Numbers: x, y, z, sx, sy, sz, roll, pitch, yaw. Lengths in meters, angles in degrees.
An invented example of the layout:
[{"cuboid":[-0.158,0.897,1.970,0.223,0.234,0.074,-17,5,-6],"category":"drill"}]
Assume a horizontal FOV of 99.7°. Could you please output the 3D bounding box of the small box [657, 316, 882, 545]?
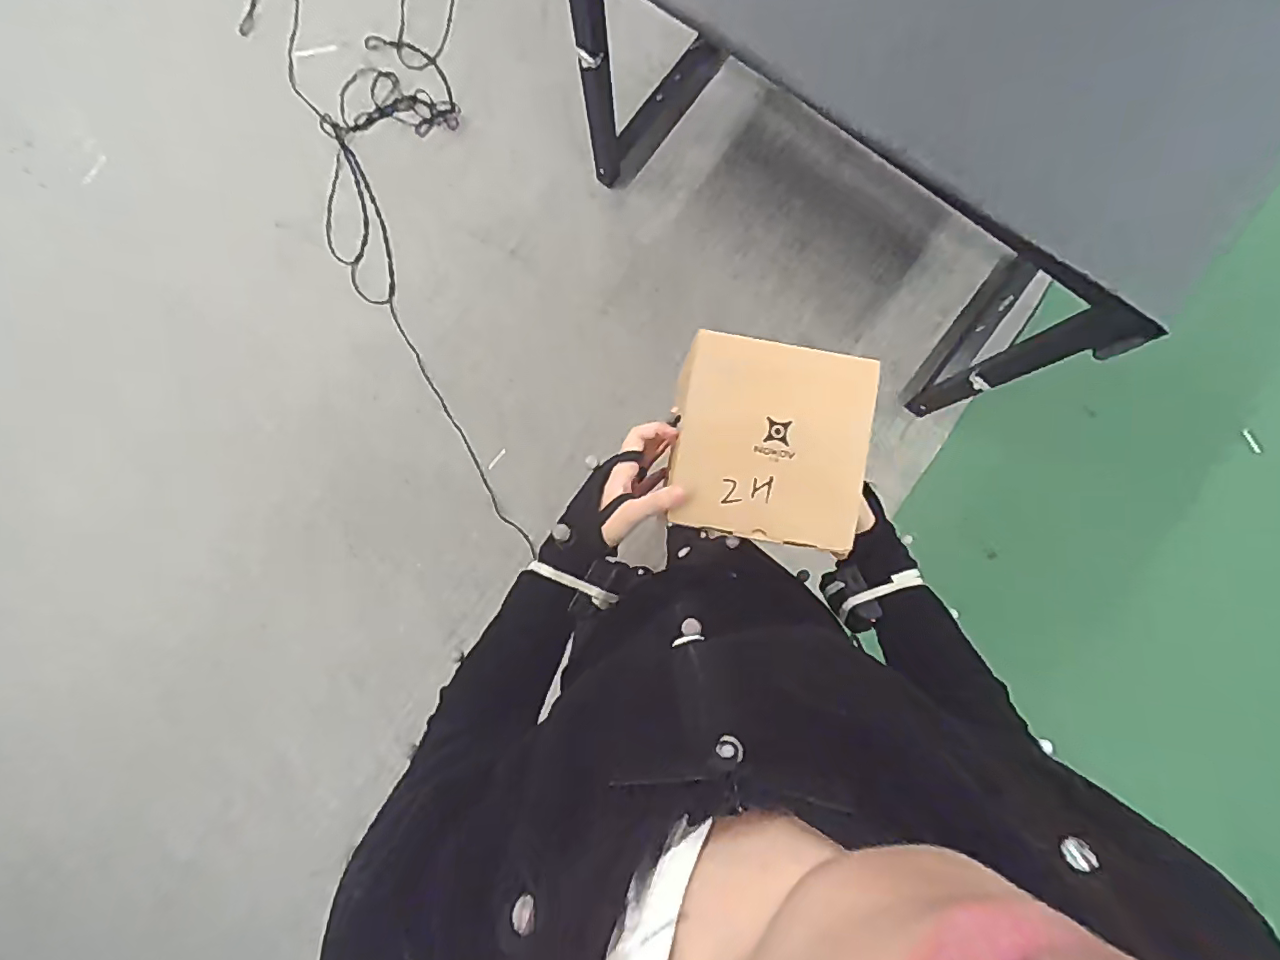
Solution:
[{"cuboid":[0.113,-0.038,0.541,0.168,0.176,0.179,10,87,-2],"category":"small box"}]
